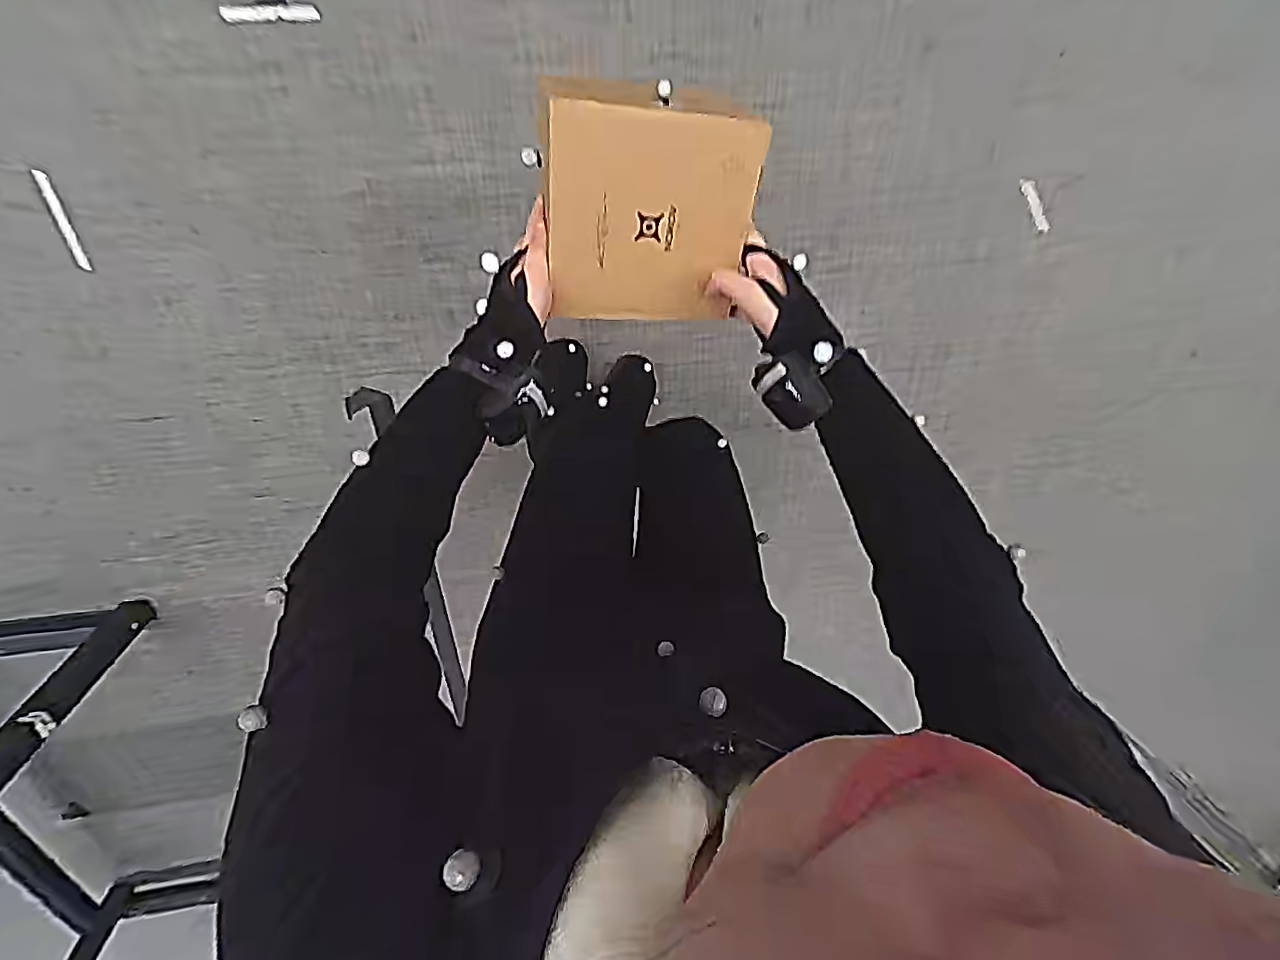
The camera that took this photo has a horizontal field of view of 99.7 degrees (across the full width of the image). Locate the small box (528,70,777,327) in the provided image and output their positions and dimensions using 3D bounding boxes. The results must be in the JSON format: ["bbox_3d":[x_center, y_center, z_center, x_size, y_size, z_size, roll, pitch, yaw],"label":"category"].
[{"bbox_3d":[-0.008,-0.255,0.491,0.179,0.176,0.168,-1,131,-13],"label":"small box"}]
